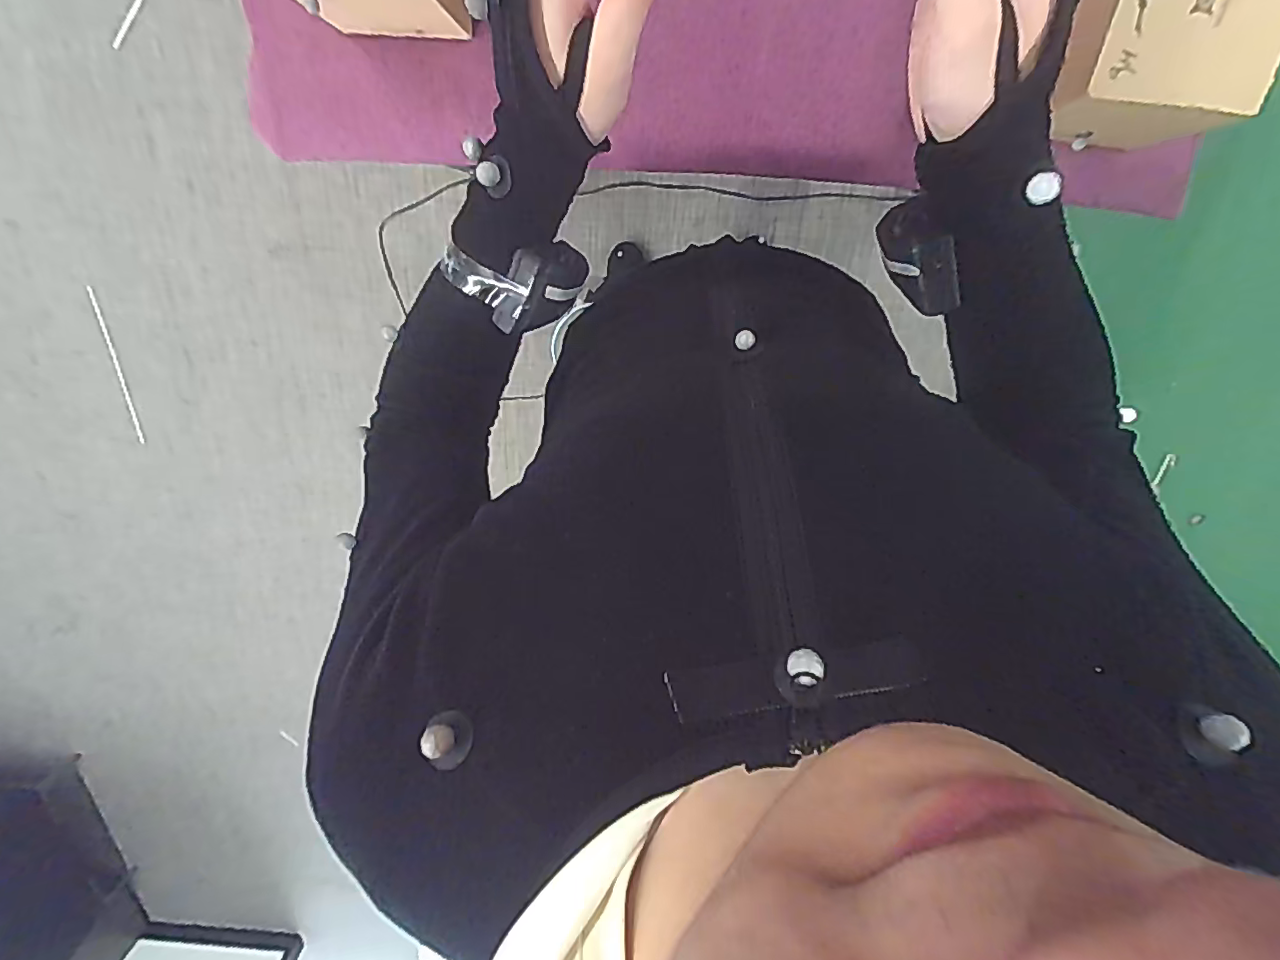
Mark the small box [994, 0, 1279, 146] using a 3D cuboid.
[{"bbox_3d":[0.540,-0.479,0.587,0.179,0.176,0.168,7,112,0],"label":"small box"}]
